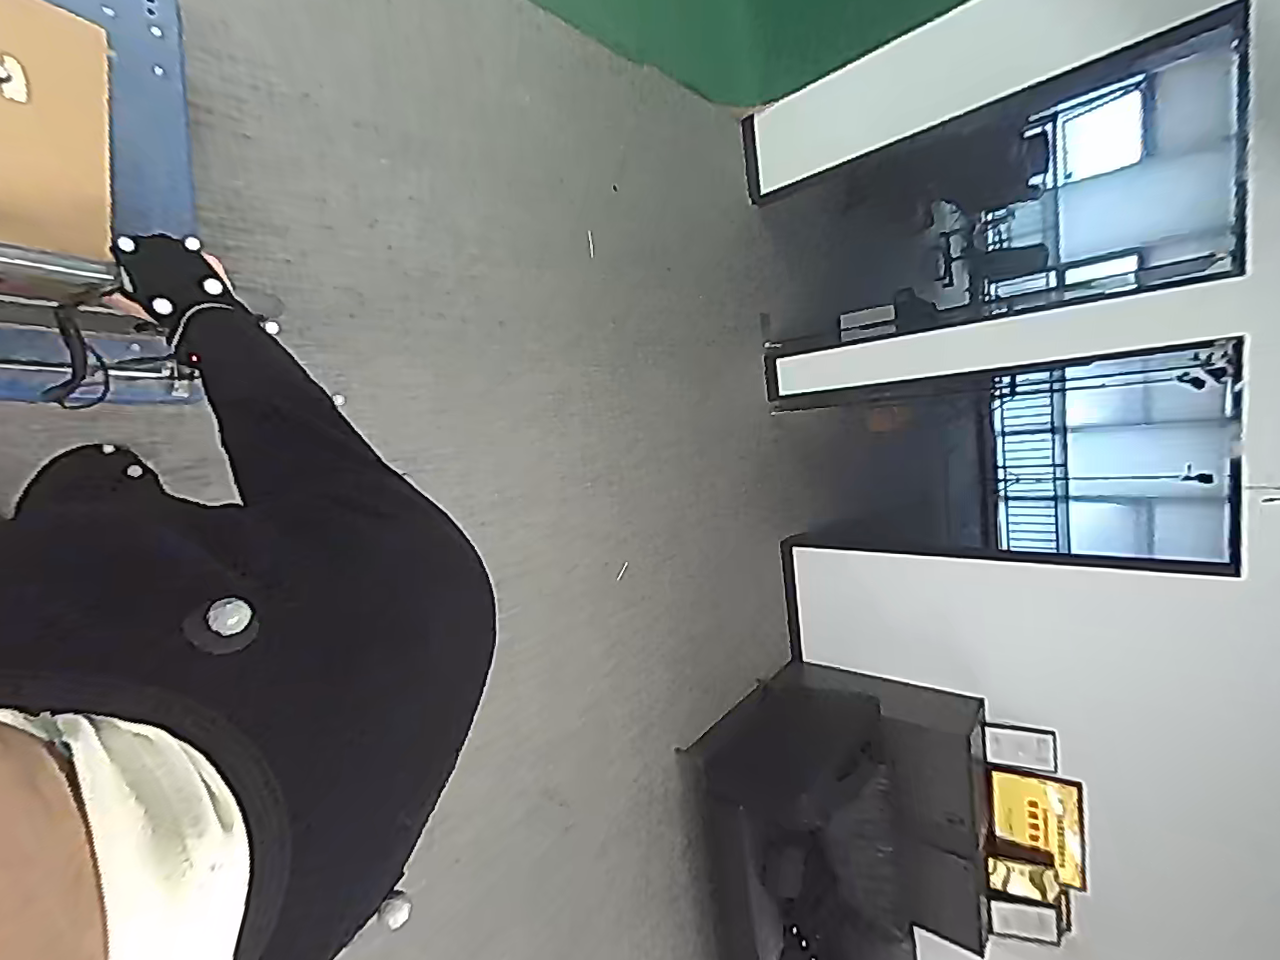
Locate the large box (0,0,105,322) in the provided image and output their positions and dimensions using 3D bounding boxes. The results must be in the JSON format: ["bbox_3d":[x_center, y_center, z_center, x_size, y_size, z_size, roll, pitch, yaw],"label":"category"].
[{"bbox_3d":[-1.059,-0.496,0.829,0.320,0.320,0.408,-1,89,-49],"label":"large box"}]
